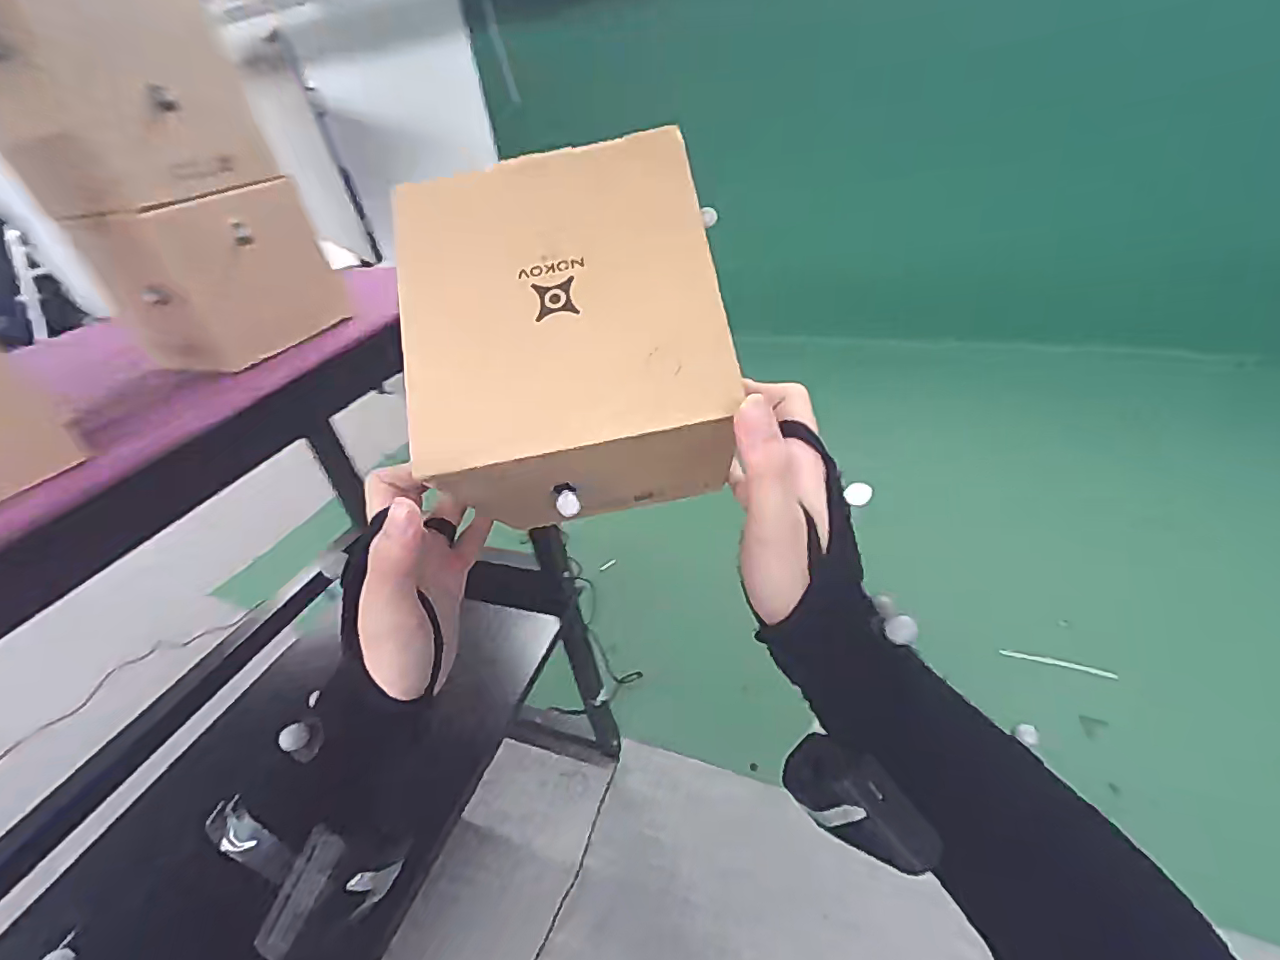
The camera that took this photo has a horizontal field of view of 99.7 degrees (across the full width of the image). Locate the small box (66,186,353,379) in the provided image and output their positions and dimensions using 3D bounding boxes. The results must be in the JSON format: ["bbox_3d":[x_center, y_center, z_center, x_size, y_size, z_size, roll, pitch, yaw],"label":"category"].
[{"bbox_3d":[-0.490,-0.232,0.645,0.168,0.176,0.179,8,40,24],"label":"small box"}]

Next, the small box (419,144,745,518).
[{"bbox_3d":[-0.030,-0.078,0.372,0.168,0.176,0.179,-11,74,3],"label":"small box"}]

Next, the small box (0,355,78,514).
[{"bbox_3d":[-0.591,-0.040,0.402,0.168,0.176,0.179,9,41,25],"label":"small box"}]

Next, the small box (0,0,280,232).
[{"bbox_3d":[-0.522,-0.363,0.550,0.179,0.176,0.168,8,40,23],"label":"small box"}]
